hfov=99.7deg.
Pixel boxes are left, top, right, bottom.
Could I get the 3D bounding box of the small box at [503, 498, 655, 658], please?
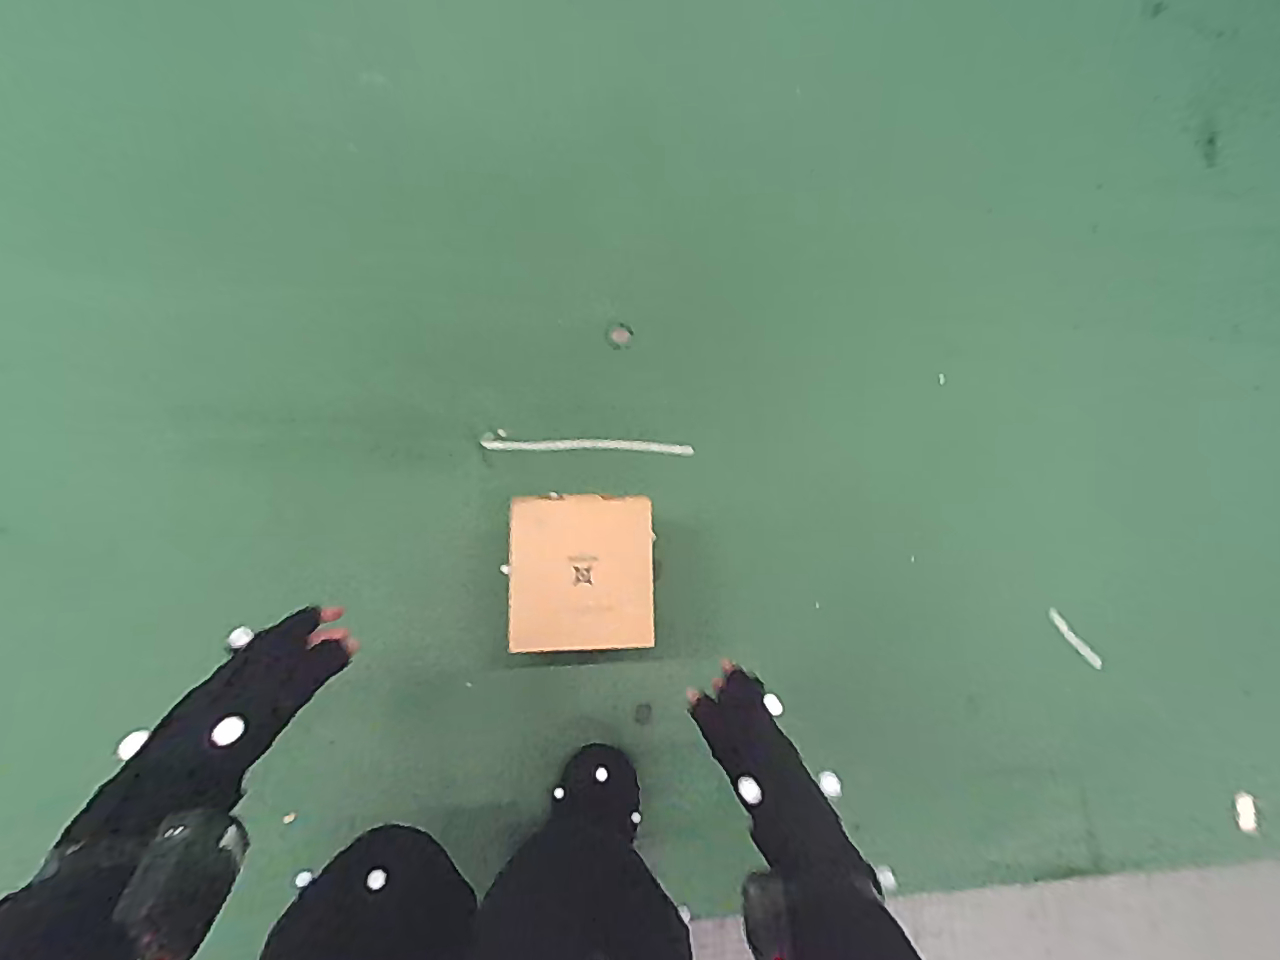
[{"bbox_3d":[-0.074,0.124,0.685,0.168,0.176,0.179,2,80,-5],"label":"small box"}]
